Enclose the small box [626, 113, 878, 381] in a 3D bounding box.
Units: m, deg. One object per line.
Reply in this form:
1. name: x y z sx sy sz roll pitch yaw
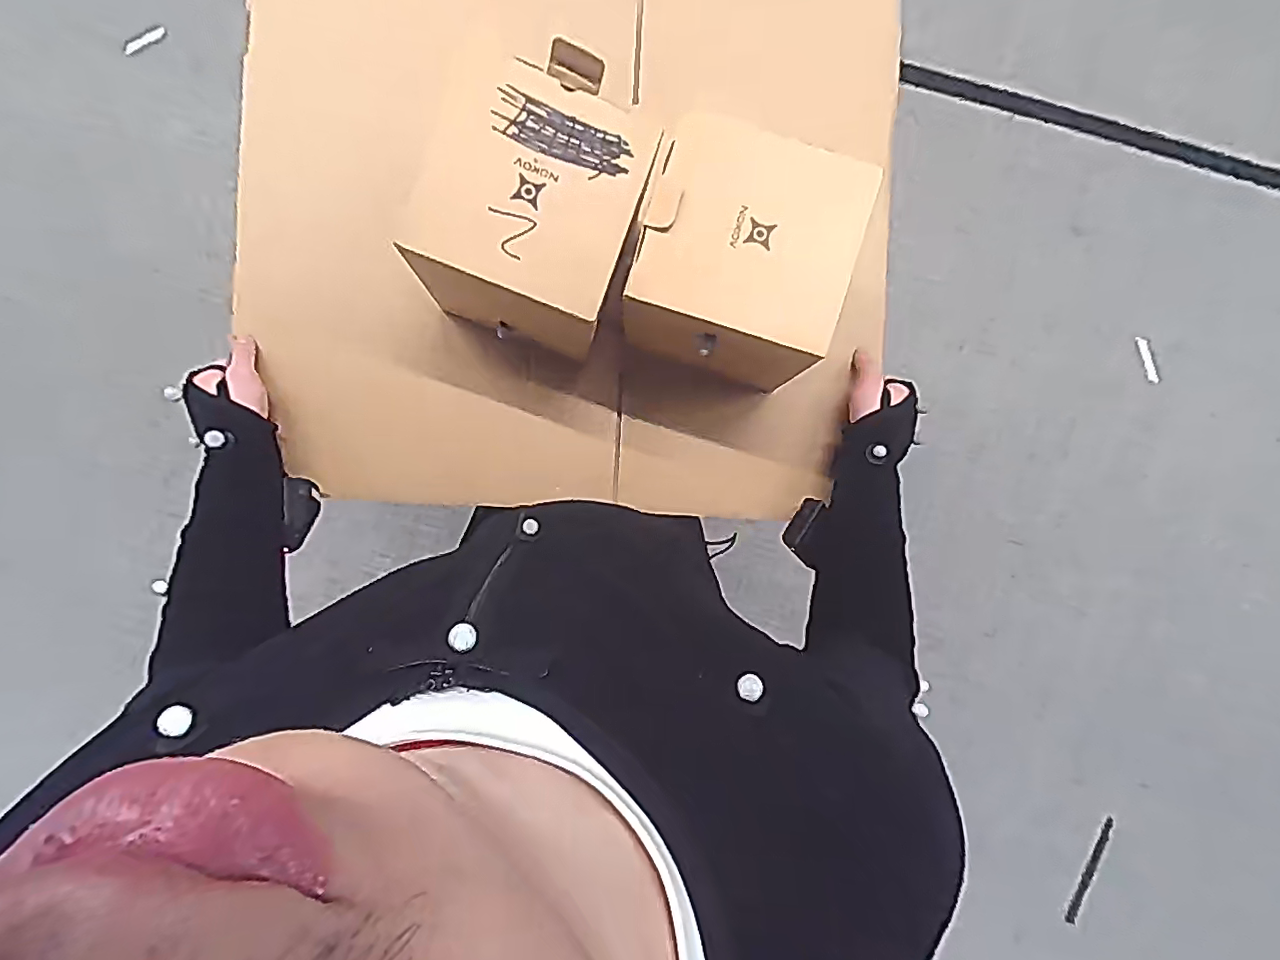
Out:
1. small box: 0.095 -0.206 0.533 0.179 0.176 0.168 17 90 1
